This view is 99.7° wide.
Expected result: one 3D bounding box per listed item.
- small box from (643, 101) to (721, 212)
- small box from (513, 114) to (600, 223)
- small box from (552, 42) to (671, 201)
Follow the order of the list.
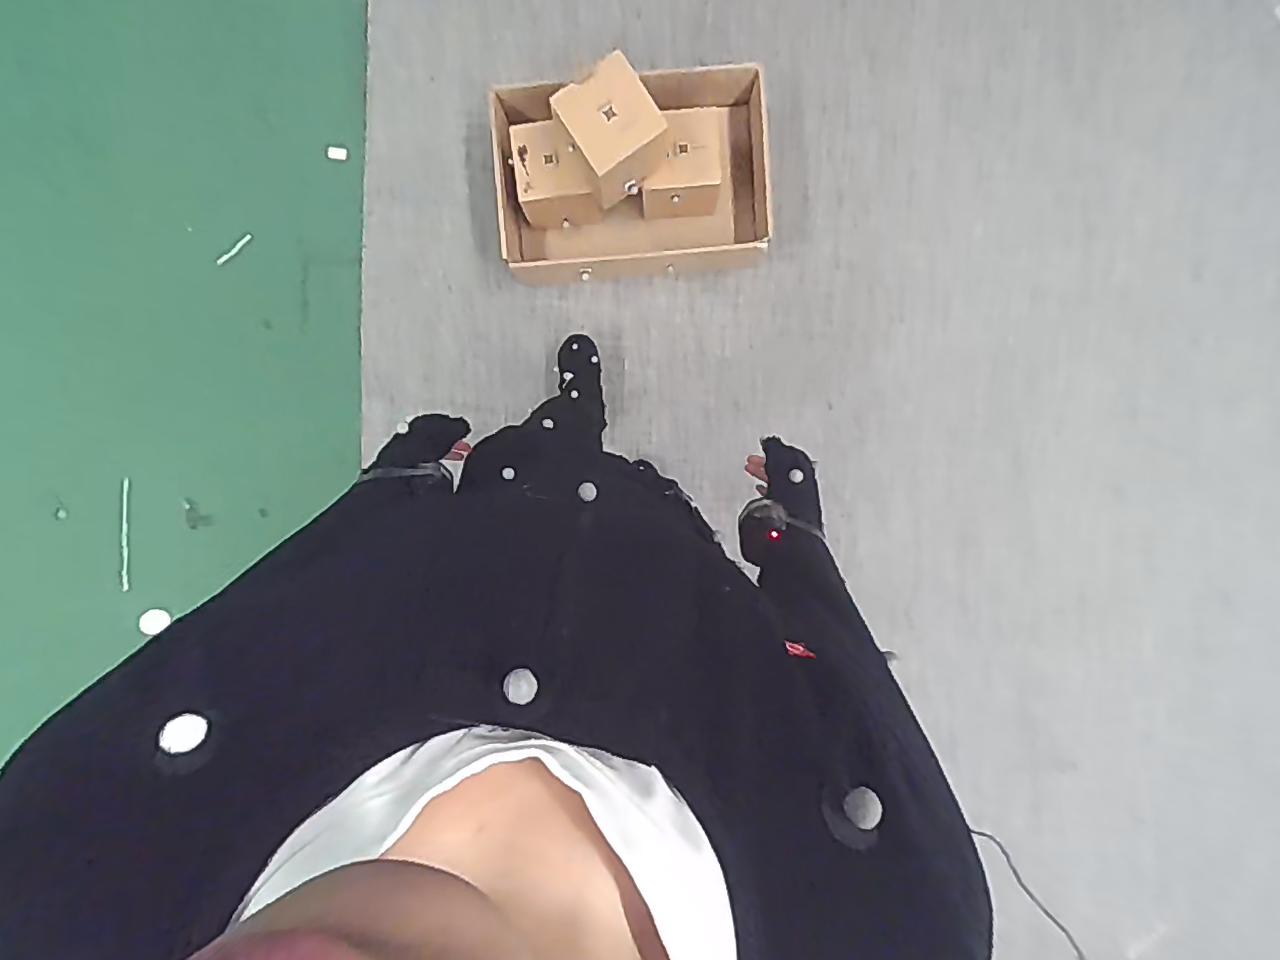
[{"bbox_3d":[0.093,-0.744,1.260,0.179,0.176,0.168,-3,95,2],"label":"small box"},{"bbox_3d":[-0.187,-0.725,1.268,0.179,0.176,0.168,-7,94,0],"label":"small box"},{"bbox_3d":[-0.055,-0.717,1.105,0.168,0.176,0.179,-34,95,4],"label":"small box"}]
